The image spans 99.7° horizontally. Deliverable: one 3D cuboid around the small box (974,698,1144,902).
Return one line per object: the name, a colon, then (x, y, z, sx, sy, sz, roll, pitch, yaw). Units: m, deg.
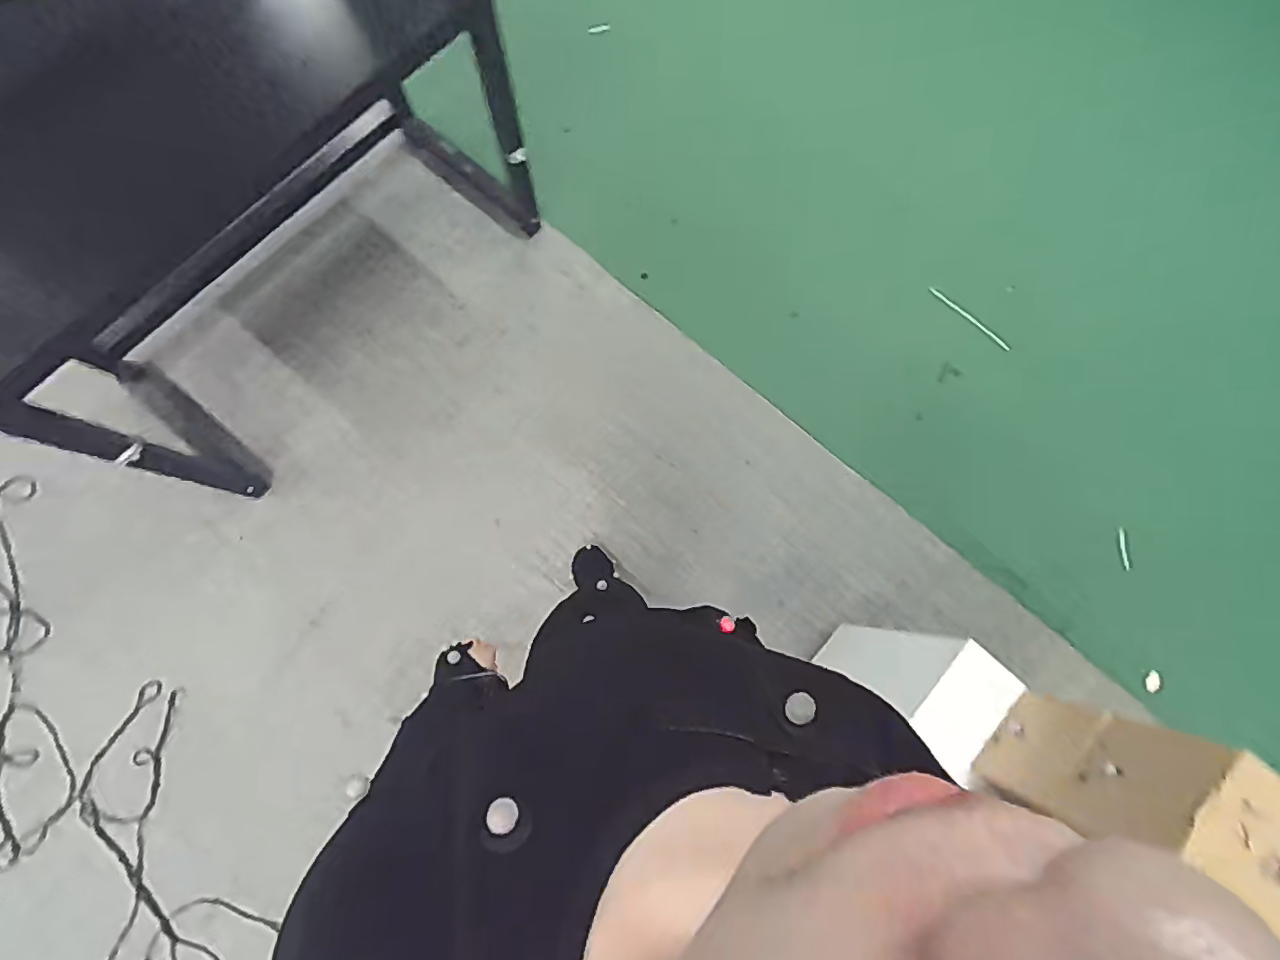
small box: (0.659, 0.457, 0.808, 0.179, 0.176, 0.168, 43, 81, 7)

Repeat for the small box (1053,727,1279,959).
small box: (0.664, 0.431, 0.646, 0.179, 0.176, 0.168, 44, 81, 7)
